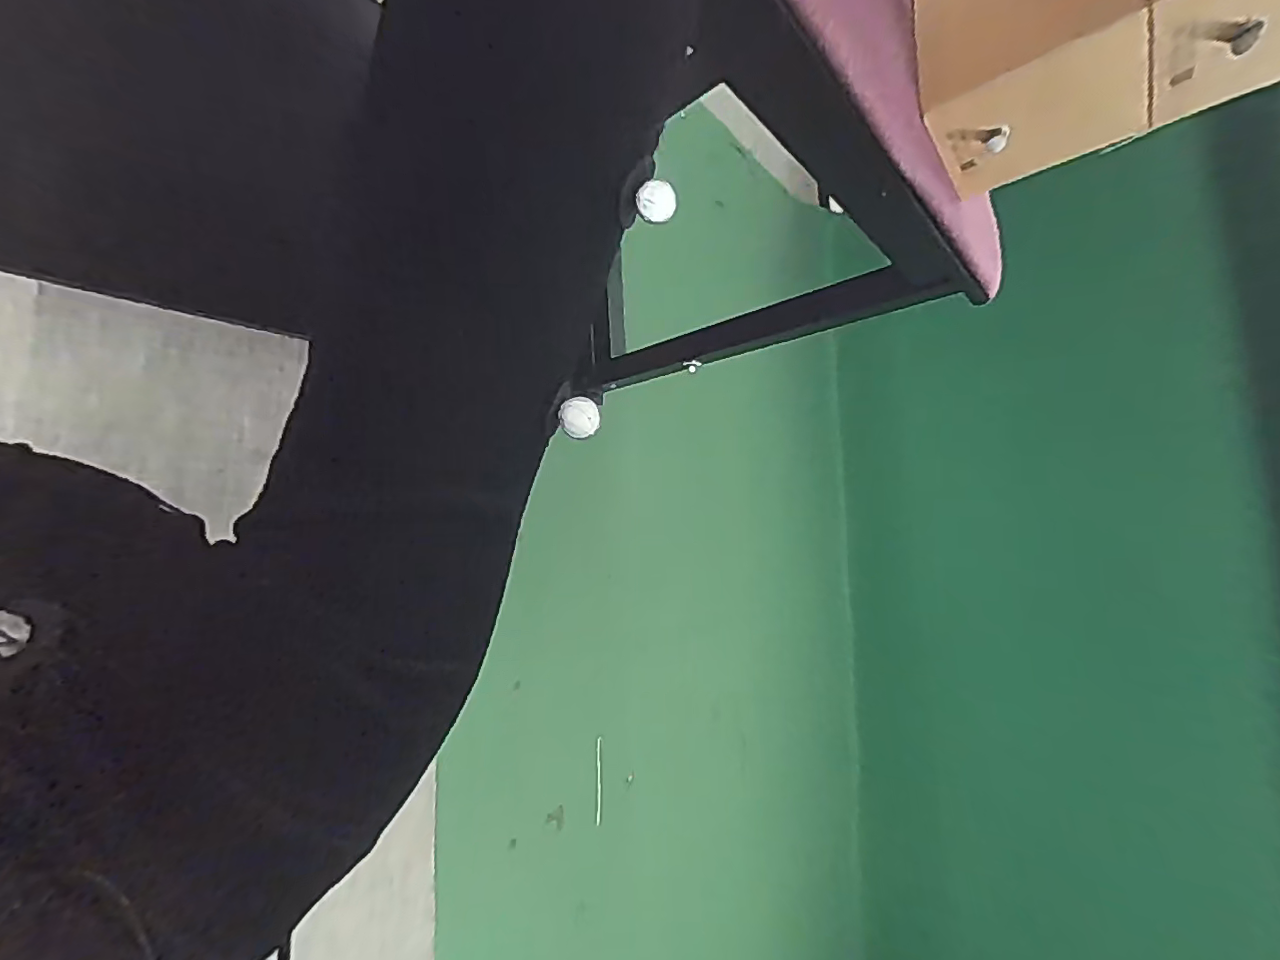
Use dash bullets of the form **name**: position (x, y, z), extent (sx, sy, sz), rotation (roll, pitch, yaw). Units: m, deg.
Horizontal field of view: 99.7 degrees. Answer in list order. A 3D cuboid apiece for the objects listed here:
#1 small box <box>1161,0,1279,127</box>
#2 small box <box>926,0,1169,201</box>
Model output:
- **small box**: position (0.518, -0.439, 0.427), extent (0.168, 0.176, 0.179), rotation (12, 77, -45)
- **small box**: position (0.396, -0.425, 0.537), extent (0.168, 0.176, 0.179), rotation (13, 77, -46)
